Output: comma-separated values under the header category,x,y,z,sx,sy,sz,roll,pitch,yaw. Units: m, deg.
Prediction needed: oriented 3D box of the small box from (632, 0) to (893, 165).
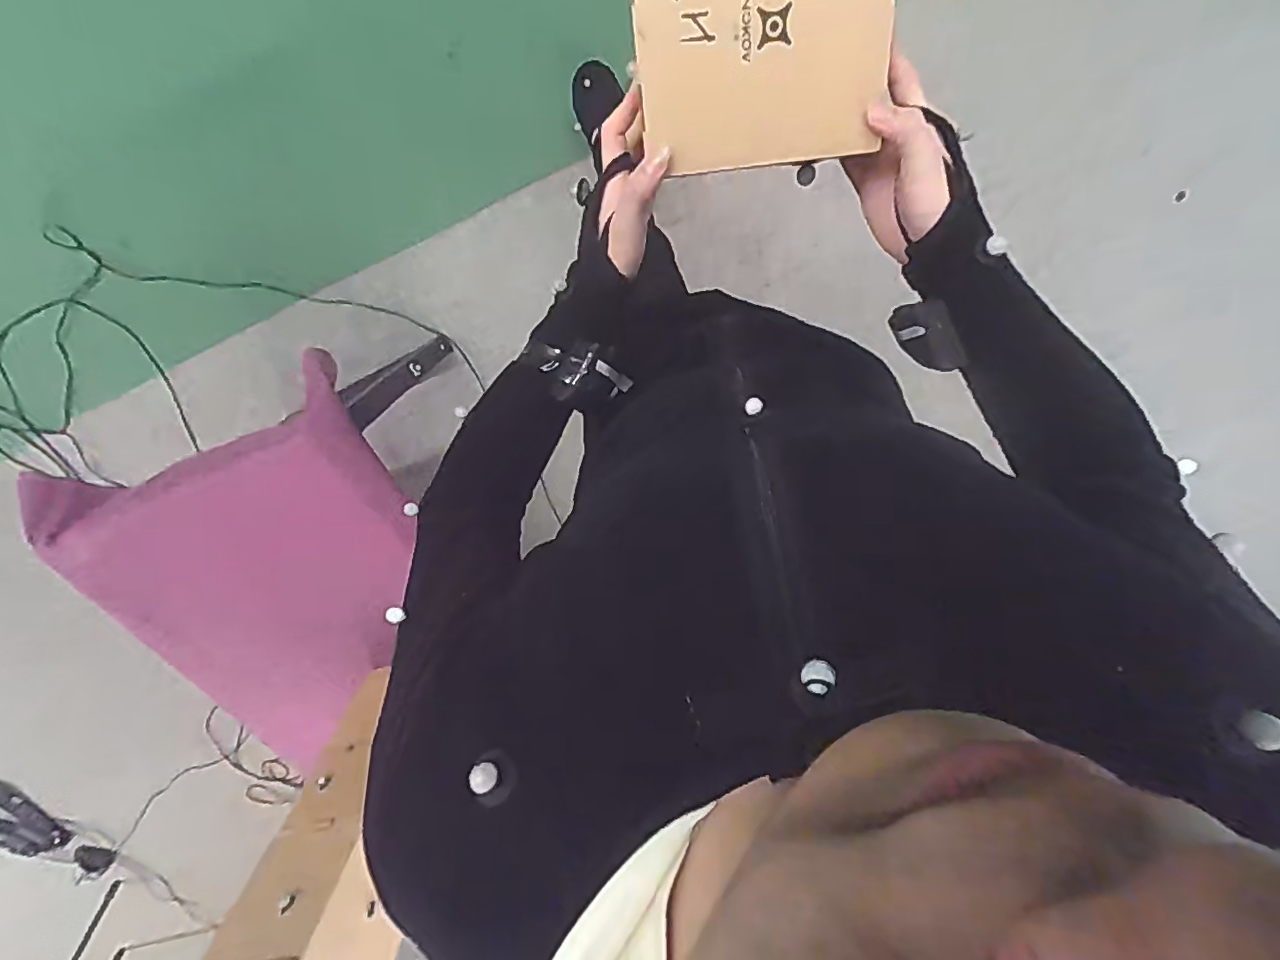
category,x,y,z,sx,sy,sz,roll,pitch,yaw
small box,0.087,-0.356,0.433,0.179,0.176,0.168,-3,119,7

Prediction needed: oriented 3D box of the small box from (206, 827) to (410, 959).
category,x,y,z,sx,sy,sz,roll,pitch,yaw
small box,-0.455,0.628,0.767,0.179,0.176,0.168,-17,115,10

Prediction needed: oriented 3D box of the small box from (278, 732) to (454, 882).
category,x,y,z,sx,sy,sz,roll,pitch,yaw
small box,-0.445,0.551,0.910,0.168,0.176,0.179,-17,116,10
